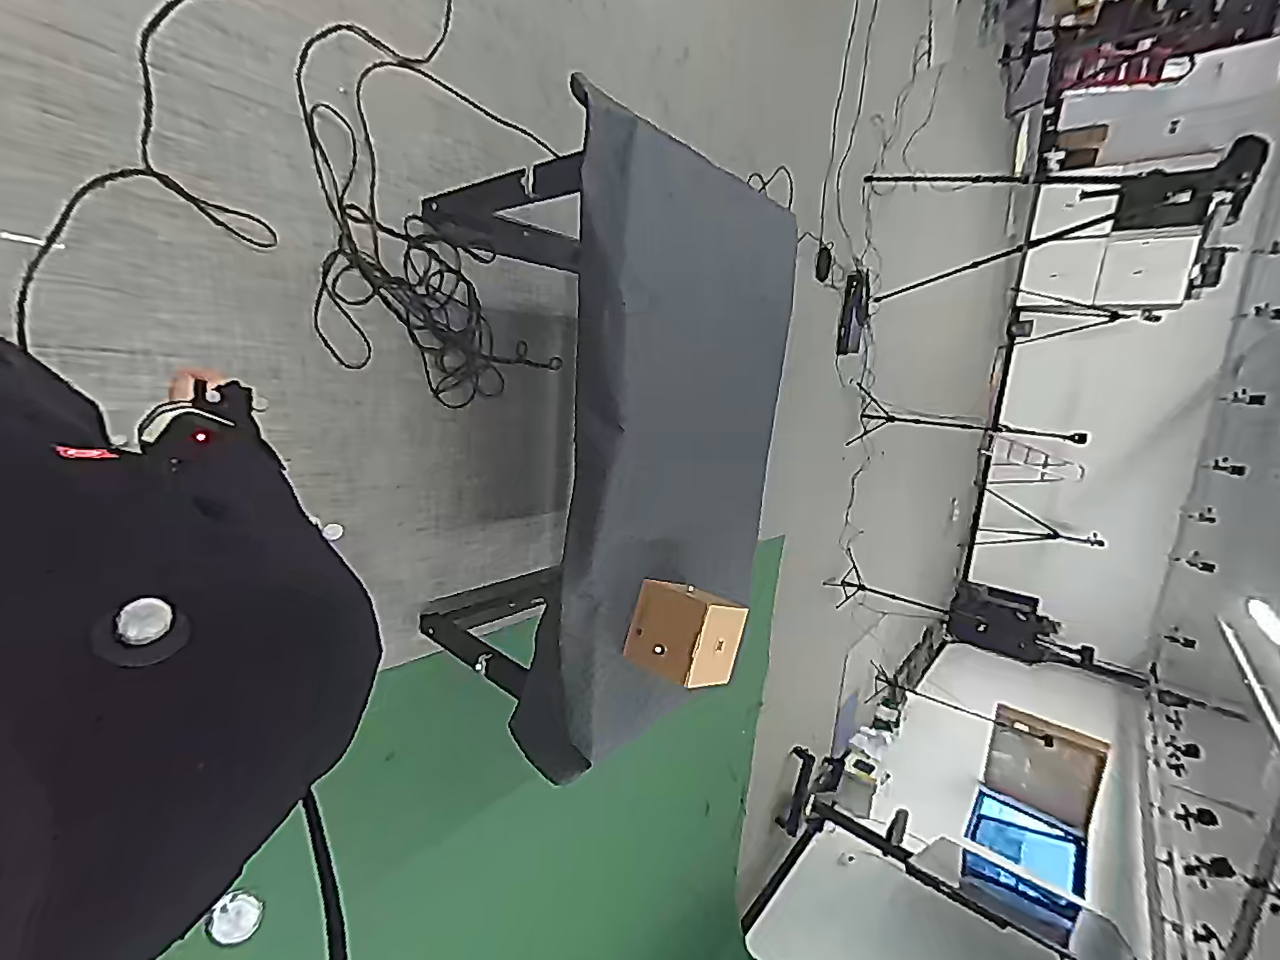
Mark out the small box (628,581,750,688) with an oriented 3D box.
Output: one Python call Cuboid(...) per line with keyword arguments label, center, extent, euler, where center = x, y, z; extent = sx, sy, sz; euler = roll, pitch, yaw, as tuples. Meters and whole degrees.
Cuboid(label="small box", center=(0.101, 0.317, 1.128), extent=(0.179, 0.176, 0.168), euler=(21, 85, -52))
